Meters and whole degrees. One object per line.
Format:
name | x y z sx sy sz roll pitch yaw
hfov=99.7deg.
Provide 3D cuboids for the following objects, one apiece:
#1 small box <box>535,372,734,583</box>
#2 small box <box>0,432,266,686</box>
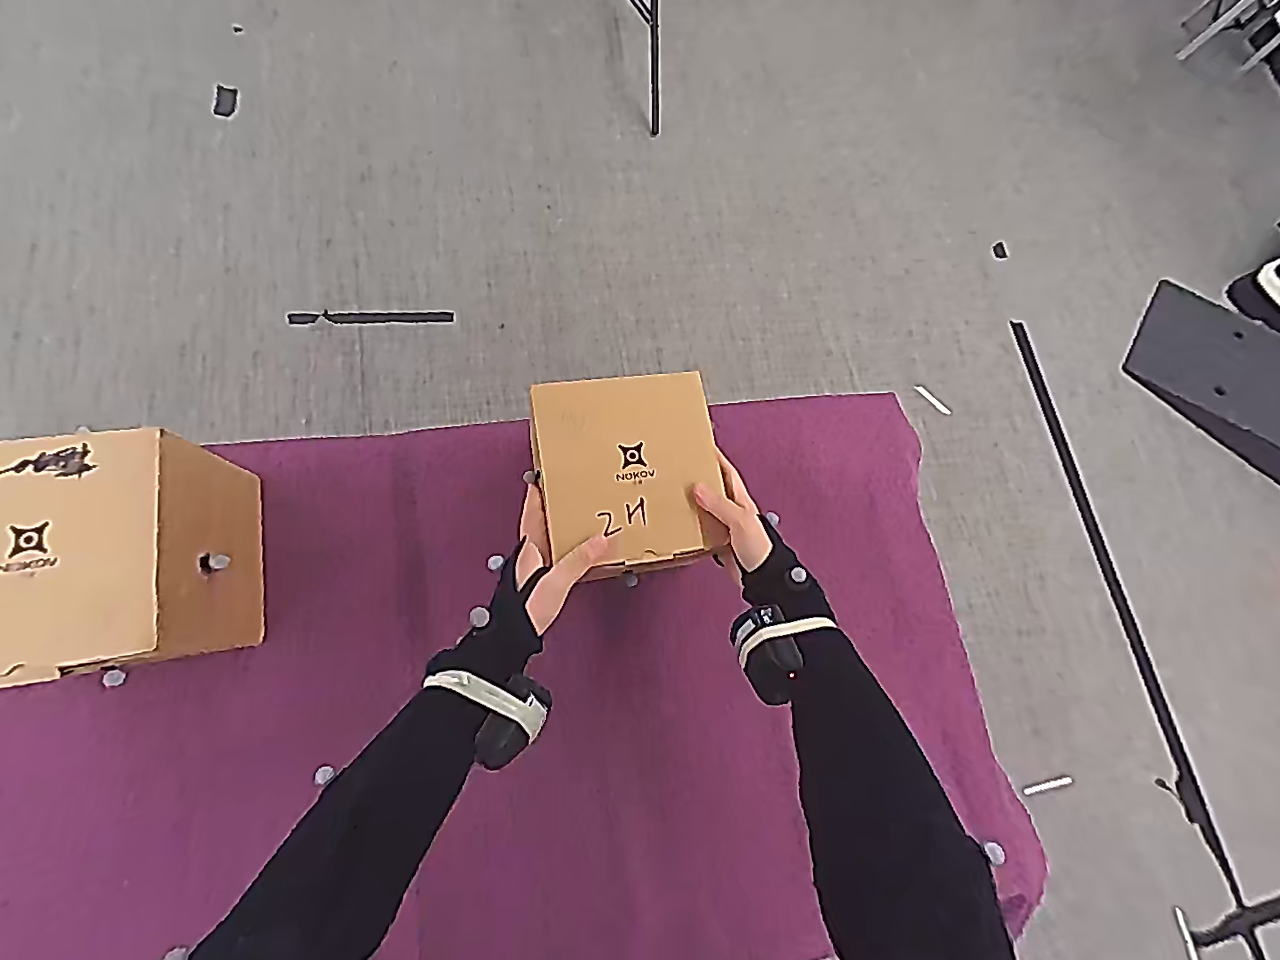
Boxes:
small box | -0.020 0.005 0.570 0.168 0.176 0.179 -7 77 -12
small box | -0.452 0.071 0.468 0.168 0.176 0.179 -7 78 -13
